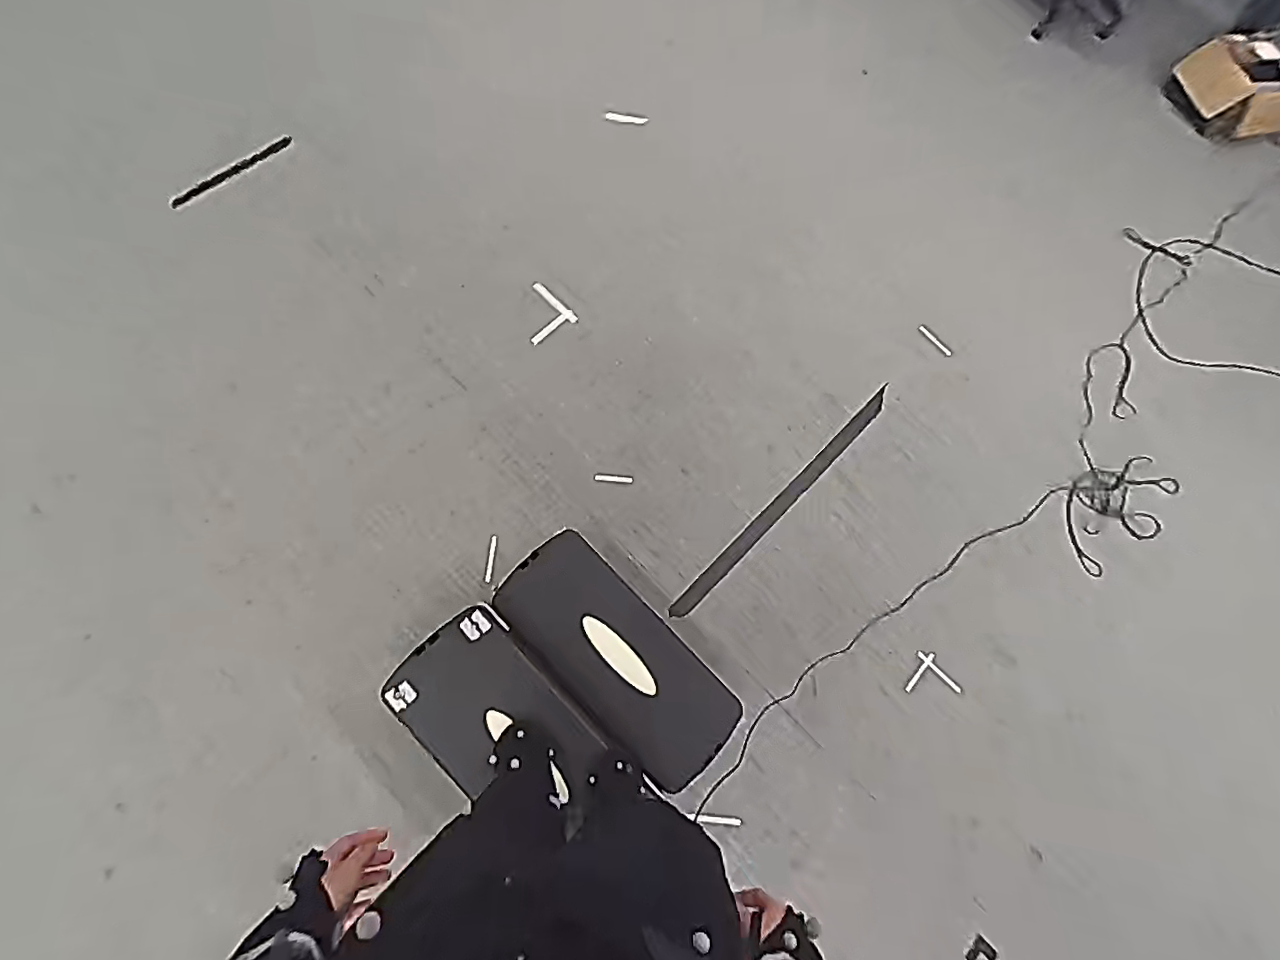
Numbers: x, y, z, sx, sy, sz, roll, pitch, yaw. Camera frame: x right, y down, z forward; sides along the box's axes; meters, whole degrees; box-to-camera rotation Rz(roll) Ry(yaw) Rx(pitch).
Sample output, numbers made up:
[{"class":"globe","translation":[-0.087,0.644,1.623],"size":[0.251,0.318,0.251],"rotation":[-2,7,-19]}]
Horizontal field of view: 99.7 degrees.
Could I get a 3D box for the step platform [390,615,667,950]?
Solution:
[{"class":"step platform","translation":[-0.249,0.642,1.218],"size":[0.286,0.204,0.684],"rotation":[-38,81,-18]}]
